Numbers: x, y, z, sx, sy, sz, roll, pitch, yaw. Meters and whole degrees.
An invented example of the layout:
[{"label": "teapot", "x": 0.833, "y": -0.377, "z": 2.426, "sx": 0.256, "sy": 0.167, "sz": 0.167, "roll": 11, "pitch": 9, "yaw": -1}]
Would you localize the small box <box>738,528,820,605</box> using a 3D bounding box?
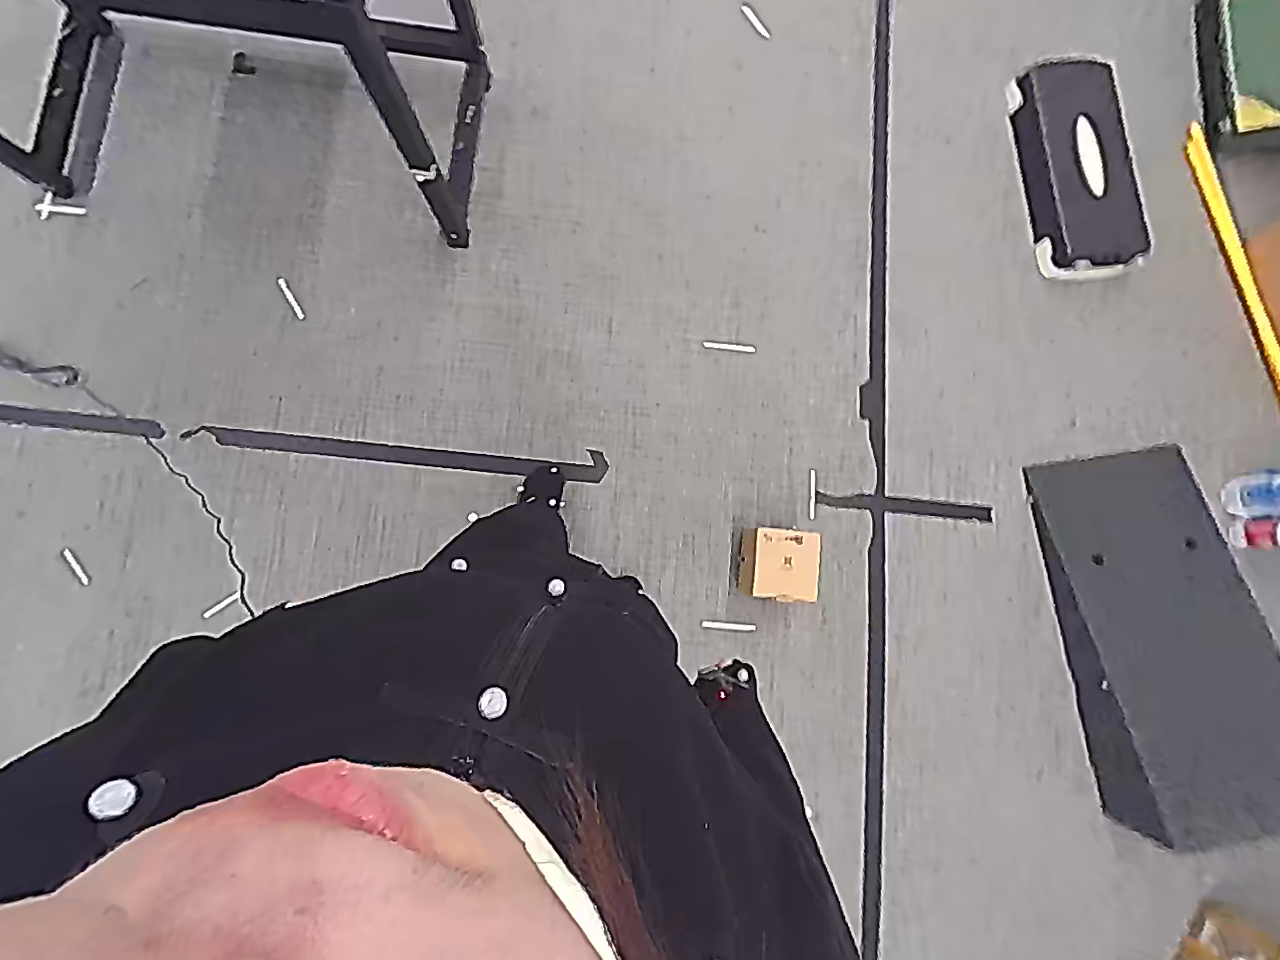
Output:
[{"label": "small box", "x": 0.363, "y": 0.224, "z": 1.434, "sx": 0.168, "sy": 0.176, "sz": 0.179, "roll": 7, "pitch": 84, "yaw": -2}]
